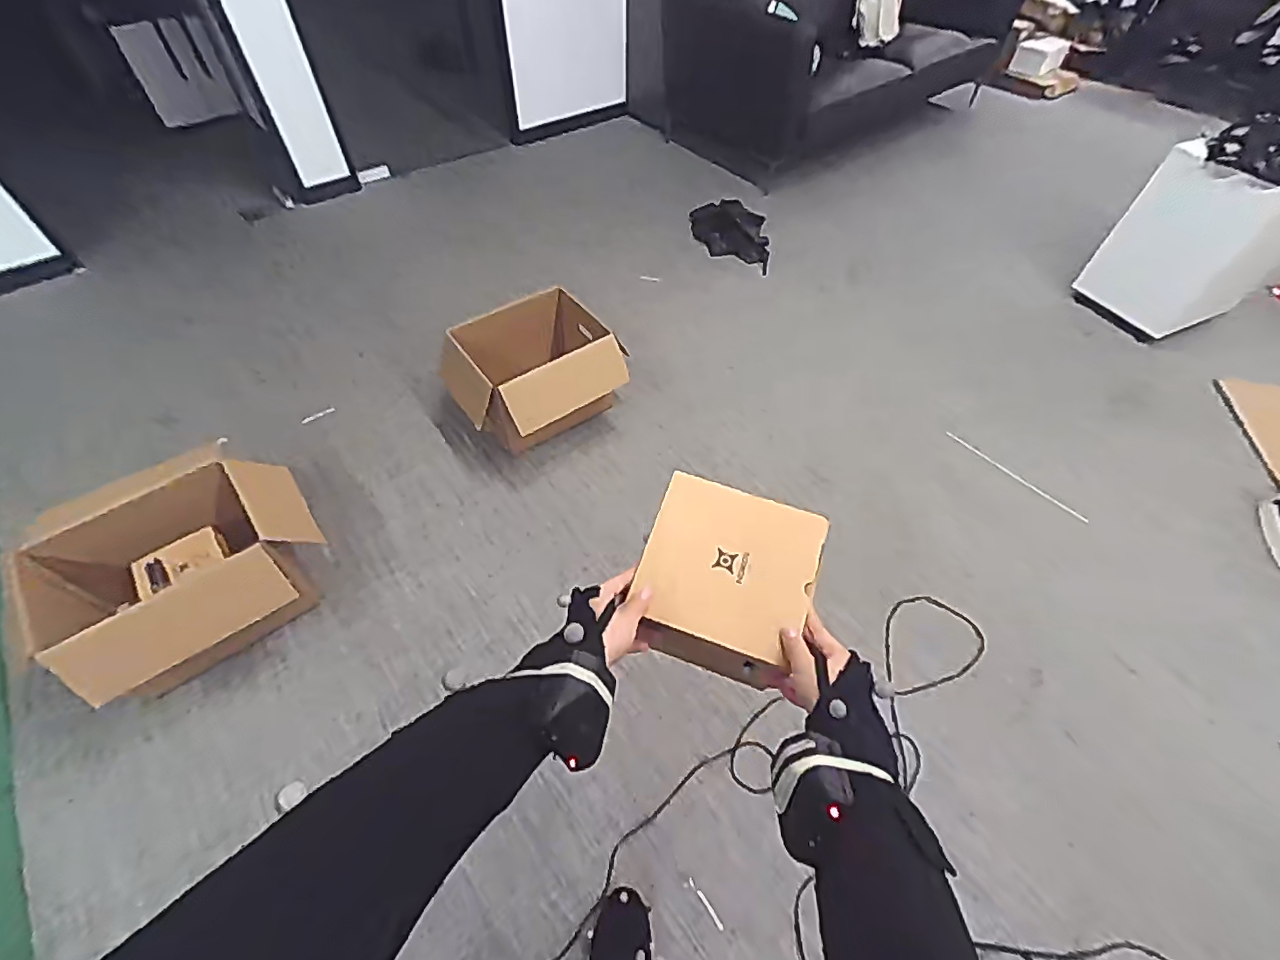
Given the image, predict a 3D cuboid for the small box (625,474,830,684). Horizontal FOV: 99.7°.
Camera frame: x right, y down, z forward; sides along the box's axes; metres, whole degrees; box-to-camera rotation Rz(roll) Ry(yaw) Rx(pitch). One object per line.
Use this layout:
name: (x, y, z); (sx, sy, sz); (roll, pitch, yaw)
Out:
small box: (0.094, 0.121, 0.619); (0.179, 0.176, 0.168); (17, 65, 9)
